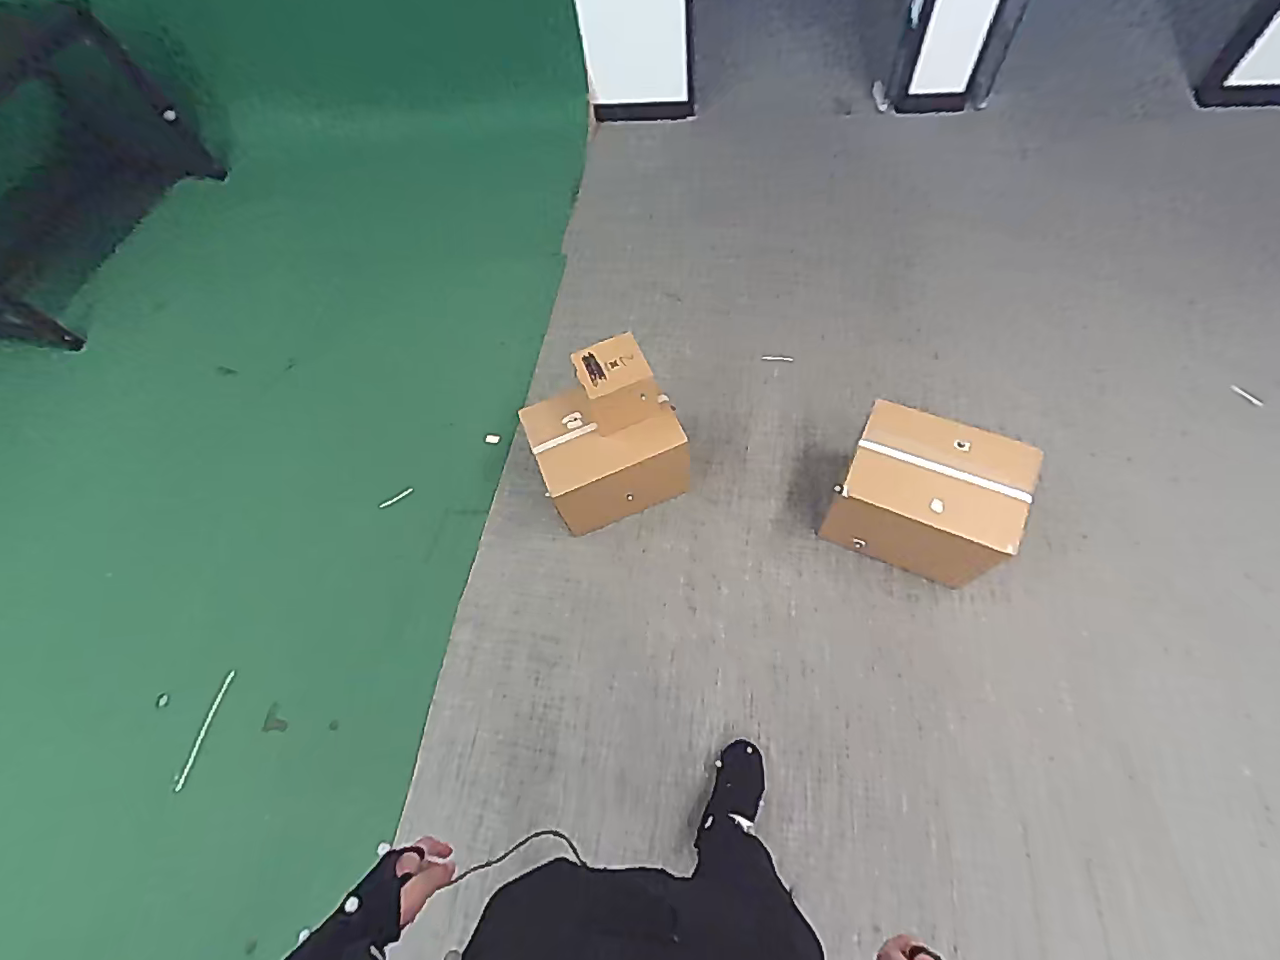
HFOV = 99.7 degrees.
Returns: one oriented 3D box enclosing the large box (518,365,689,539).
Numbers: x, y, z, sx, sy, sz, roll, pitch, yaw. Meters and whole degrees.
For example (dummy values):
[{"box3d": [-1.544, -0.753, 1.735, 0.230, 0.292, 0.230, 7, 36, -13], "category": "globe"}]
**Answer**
[{"box3d": [-0.096, -0.075, 1.639, 0.408, 0.320, 0.320, -23, 62, -4], "category": "large box"}]
